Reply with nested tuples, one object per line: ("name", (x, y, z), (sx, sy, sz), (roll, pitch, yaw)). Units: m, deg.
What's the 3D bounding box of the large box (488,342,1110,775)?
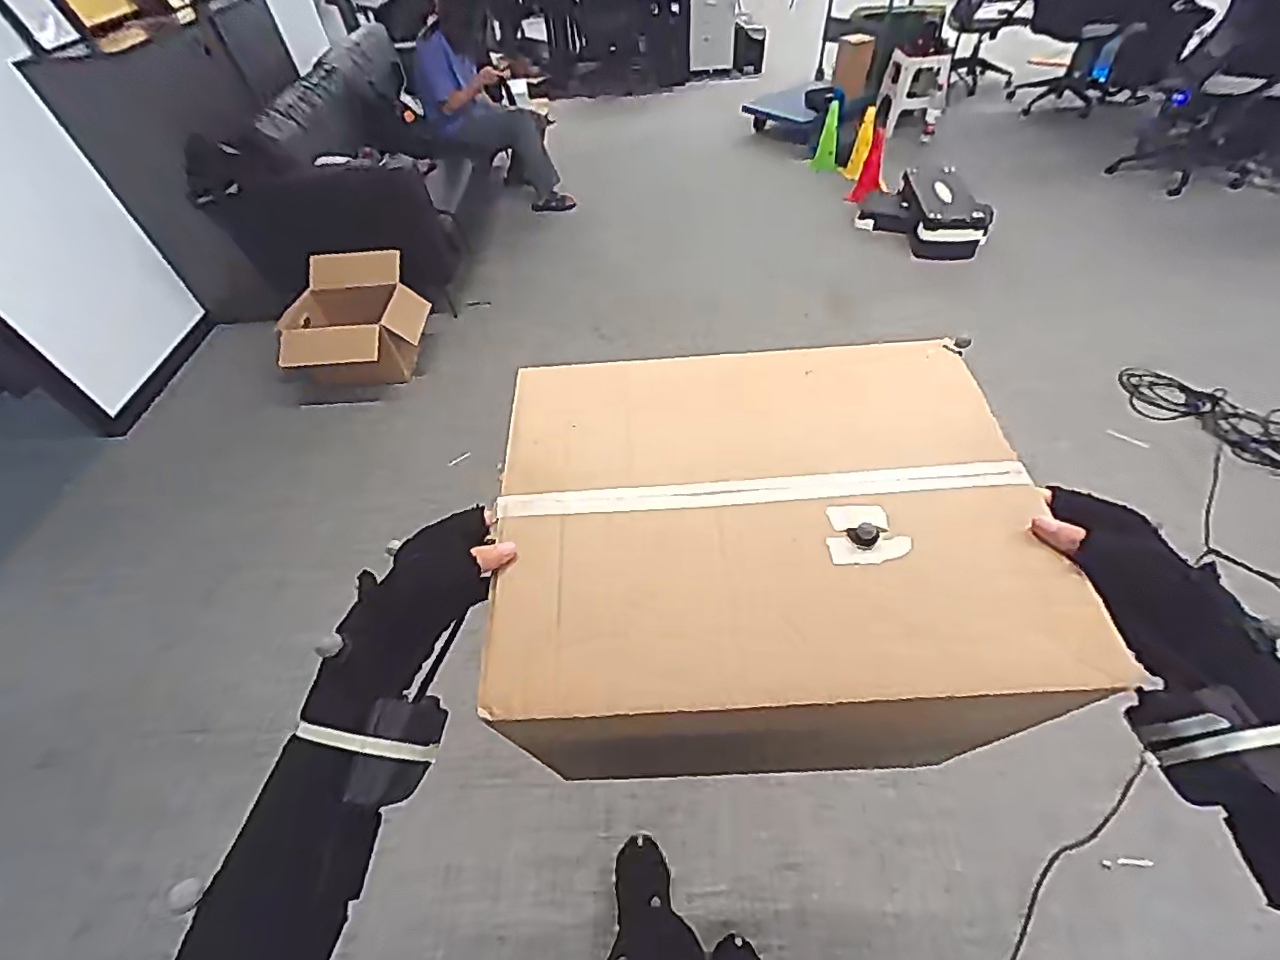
("large box", (0.097, 0.092, 0.544), (0.408, 0.320, 0.320), (-3, 55, 1))
